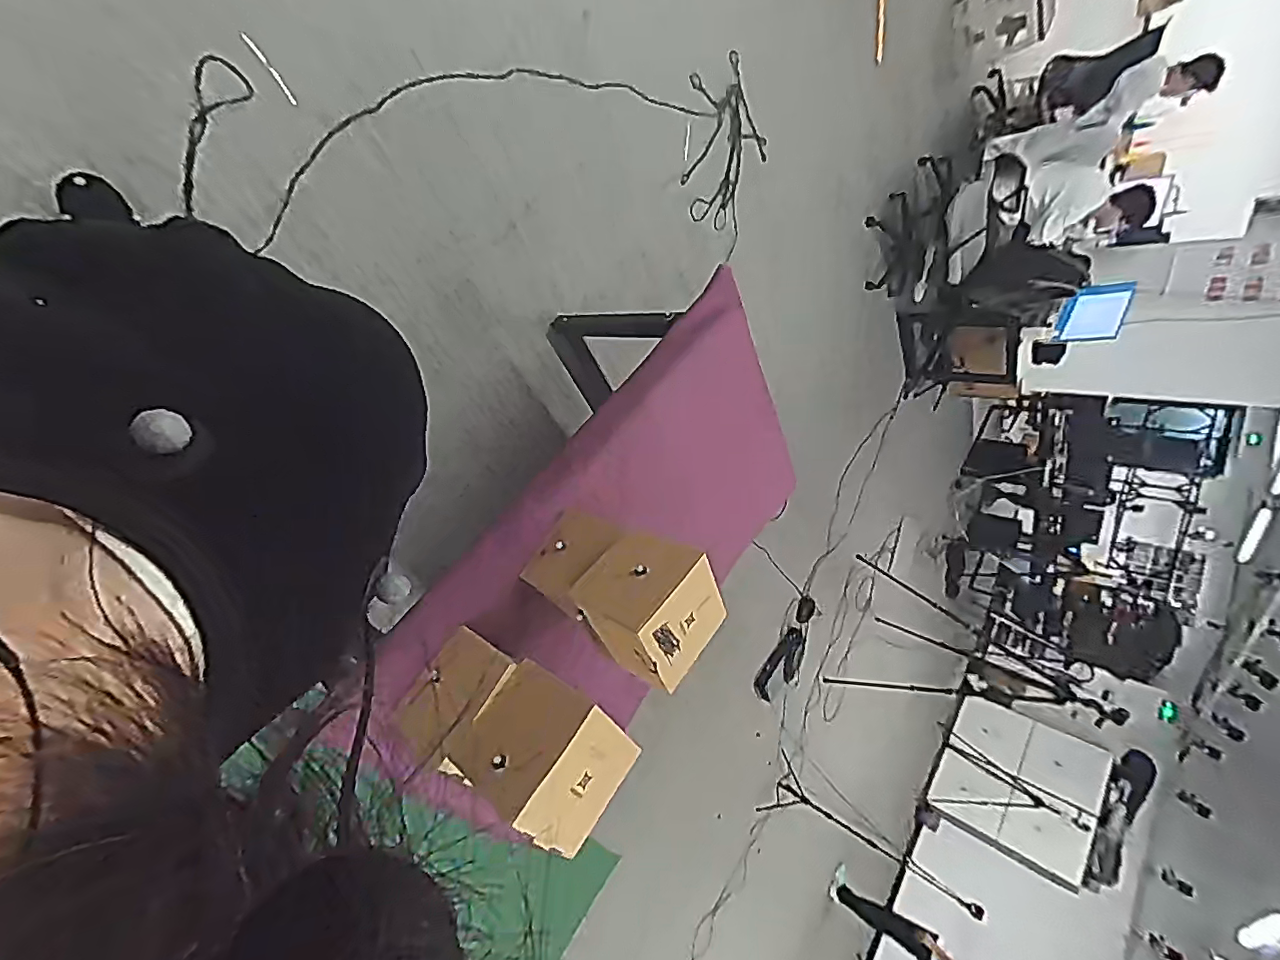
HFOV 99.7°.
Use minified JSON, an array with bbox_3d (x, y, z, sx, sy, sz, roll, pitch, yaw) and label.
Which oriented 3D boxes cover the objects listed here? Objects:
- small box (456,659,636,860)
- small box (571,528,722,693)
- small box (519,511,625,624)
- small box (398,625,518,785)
[{"bbox_3d":[-0.144,0.404,0.800,0.179,0.176,0.168,-50,132,-25],"label":"small box"},{"bbox_3d":[0.007,0.209,0.904,0.179,0.176,0.168,-45,131,-30],"label":"small box"},{"bbox_3d":[-0.092,0.180,1.035,0.168,0.176,0.179,-56,135,-20],"label":"small box"},{"bbox_3d":[-0.272,0.376,0.901,0.179,0.176,0.168,-54,134,-21],"label":"small box"}]
